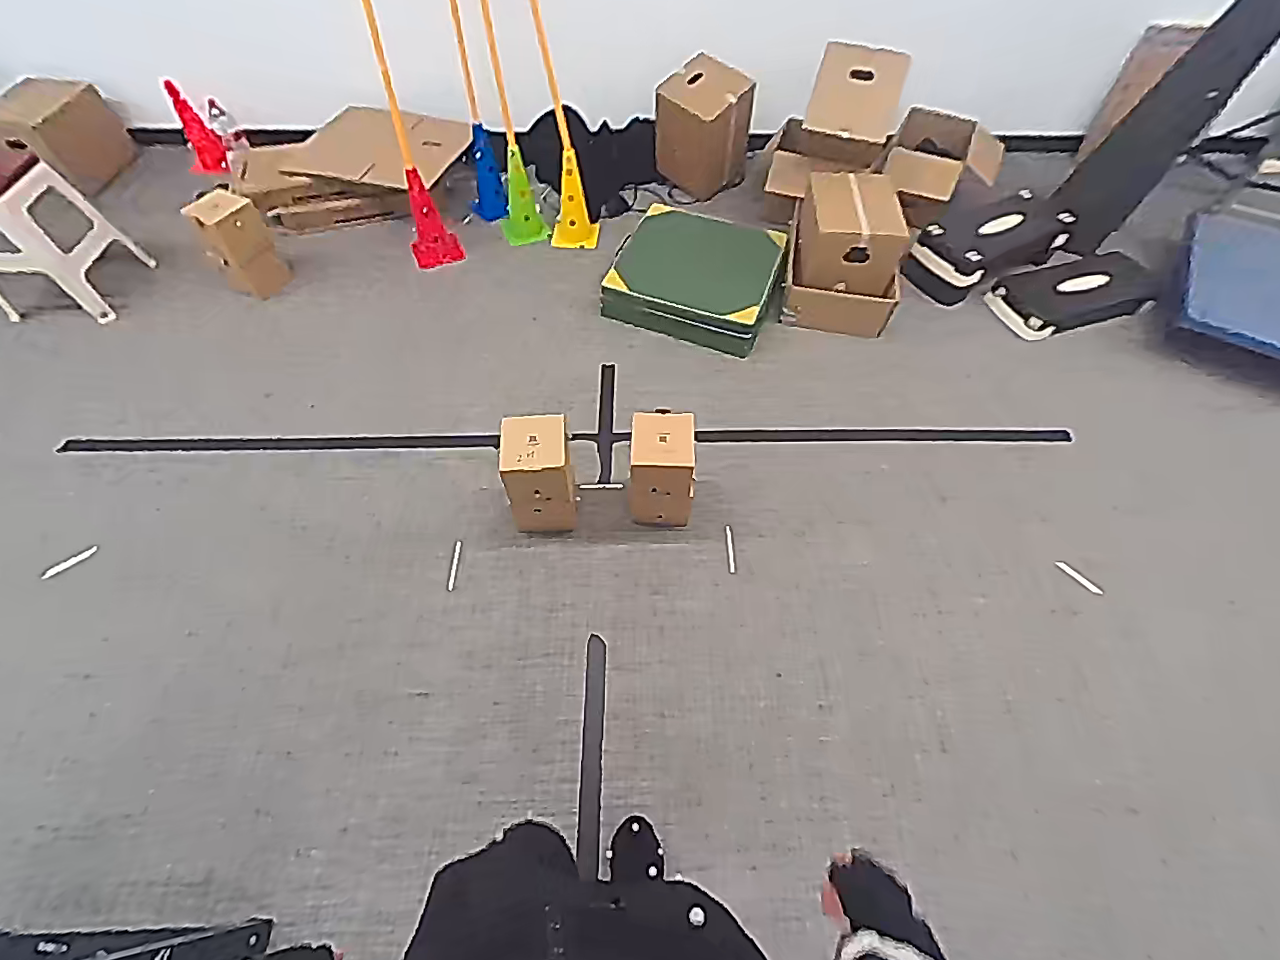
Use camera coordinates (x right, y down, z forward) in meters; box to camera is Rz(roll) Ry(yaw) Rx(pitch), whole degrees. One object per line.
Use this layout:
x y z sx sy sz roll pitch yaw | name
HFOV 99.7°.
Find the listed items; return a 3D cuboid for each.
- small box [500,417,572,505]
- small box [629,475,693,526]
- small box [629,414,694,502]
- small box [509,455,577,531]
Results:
-0.276 -0.051 1.465 0.168 0.176 0.179 -4 57 -3 | small box
0.062 0.026 1.624 0.179 0.176 0.168 4 57 -1 | small box
0.058 -0.059 1.485 0.168 0.176 0.179 3 58 1 | small box
-0.281 0.043 1.601 0.179 0.176 0.168 -2 57 -4 | small box
